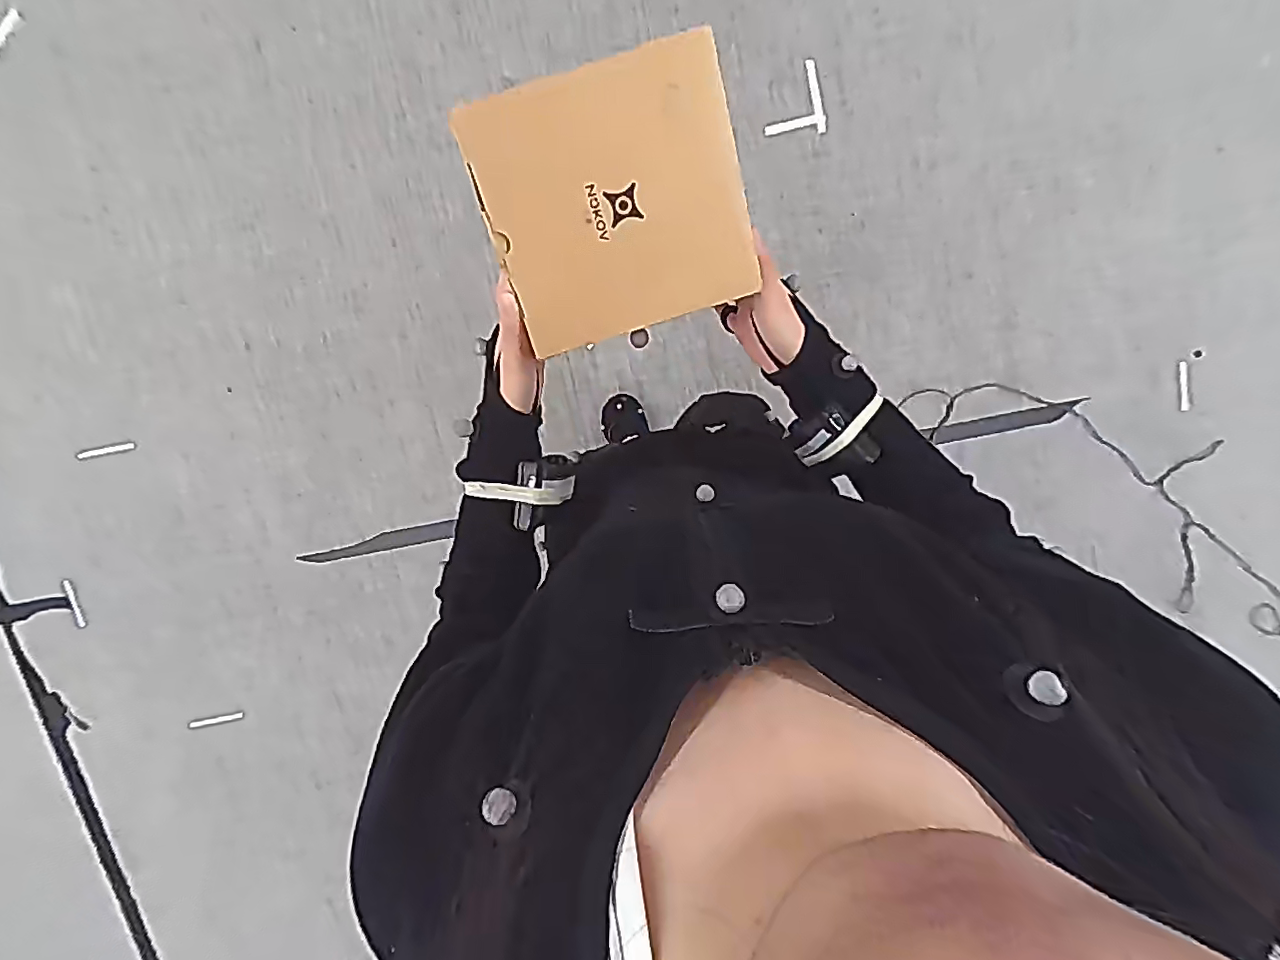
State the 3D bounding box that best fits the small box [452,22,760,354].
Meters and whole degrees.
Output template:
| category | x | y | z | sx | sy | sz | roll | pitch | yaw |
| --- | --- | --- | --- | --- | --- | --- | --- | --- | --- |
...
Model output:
| category | x | y | z | sx | sy | sz | roll | pitch | yaw |
| --- | --- | --- | --- | --- | --- | --- | --- | --- | --- |
| small box | -0.022 | -0.218 | 0.440 | 0.179 | 0.176 | 0.168 | -17 | 112 | 3 |
